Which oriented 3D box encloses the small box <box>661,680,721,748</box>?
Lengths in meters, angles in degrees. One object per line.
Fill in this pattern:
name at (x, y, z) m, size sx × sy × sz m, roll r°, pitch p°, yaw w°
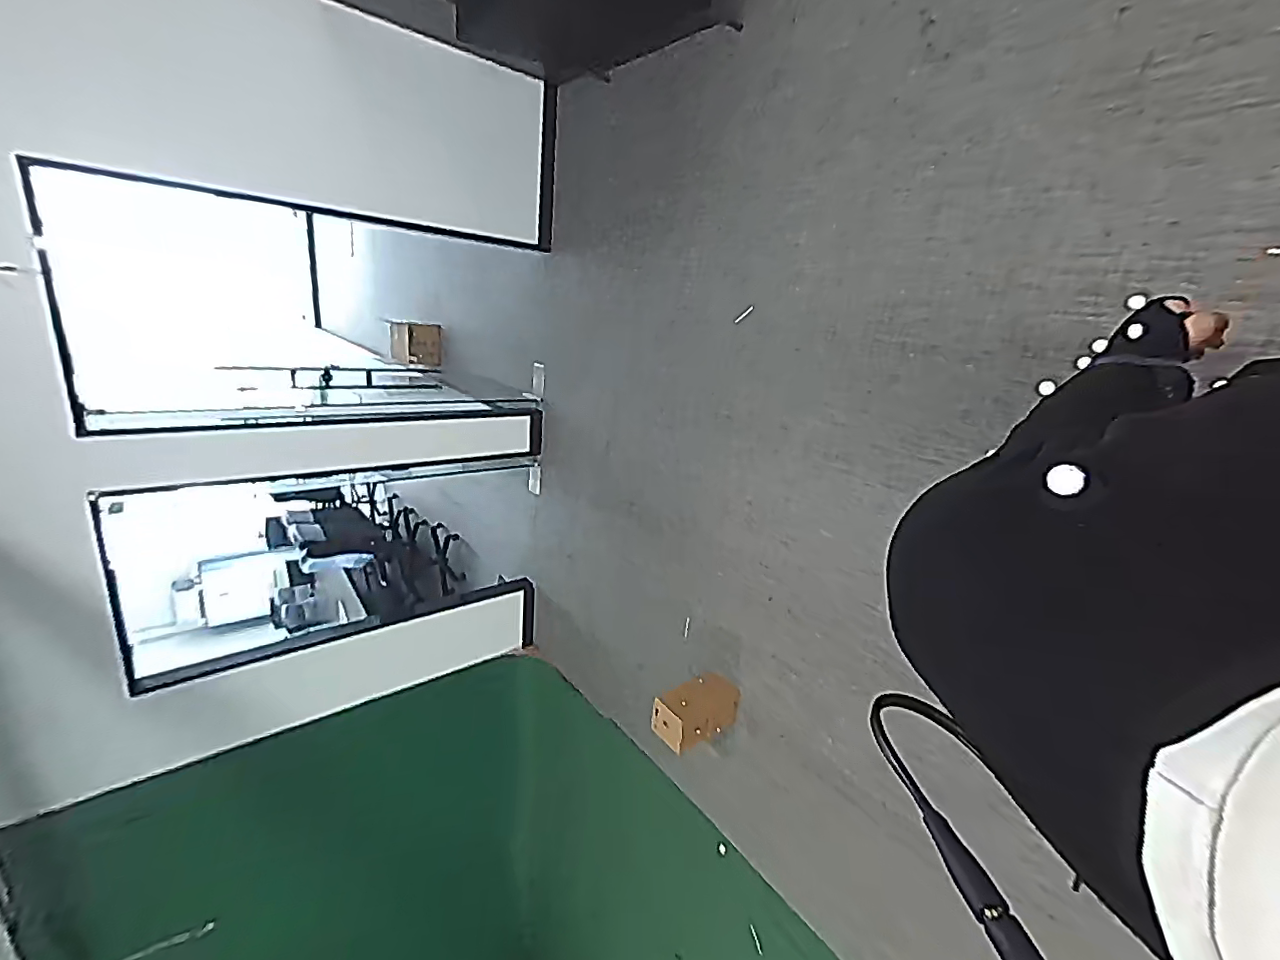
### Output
small box at (0.215, 0.968, 2.259) m, size 0.179 × 0.176 × 0.168 m, roll 26°, pitch 116°, yaw 47°
